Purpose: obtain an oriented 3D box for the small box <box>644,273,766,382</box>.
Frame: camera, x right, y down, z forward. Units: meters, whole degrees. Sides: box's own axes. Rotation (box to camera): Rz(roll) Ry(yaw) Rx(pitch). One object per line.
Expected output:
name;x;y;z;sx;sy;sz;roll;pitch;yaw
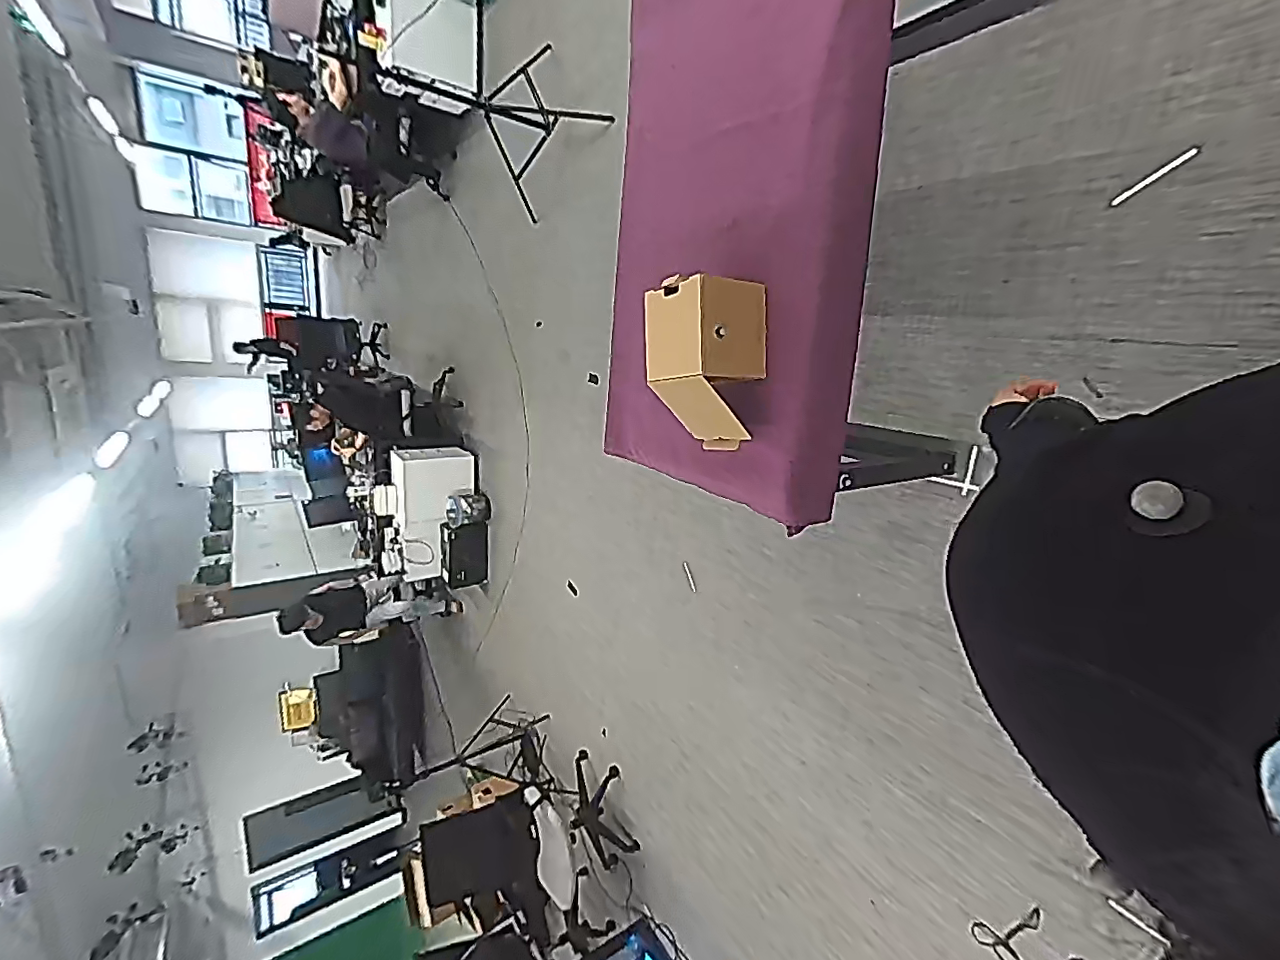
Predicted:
small box;0.125;-0.282;1.036;0.168;0.176;0.179;7;101;54
